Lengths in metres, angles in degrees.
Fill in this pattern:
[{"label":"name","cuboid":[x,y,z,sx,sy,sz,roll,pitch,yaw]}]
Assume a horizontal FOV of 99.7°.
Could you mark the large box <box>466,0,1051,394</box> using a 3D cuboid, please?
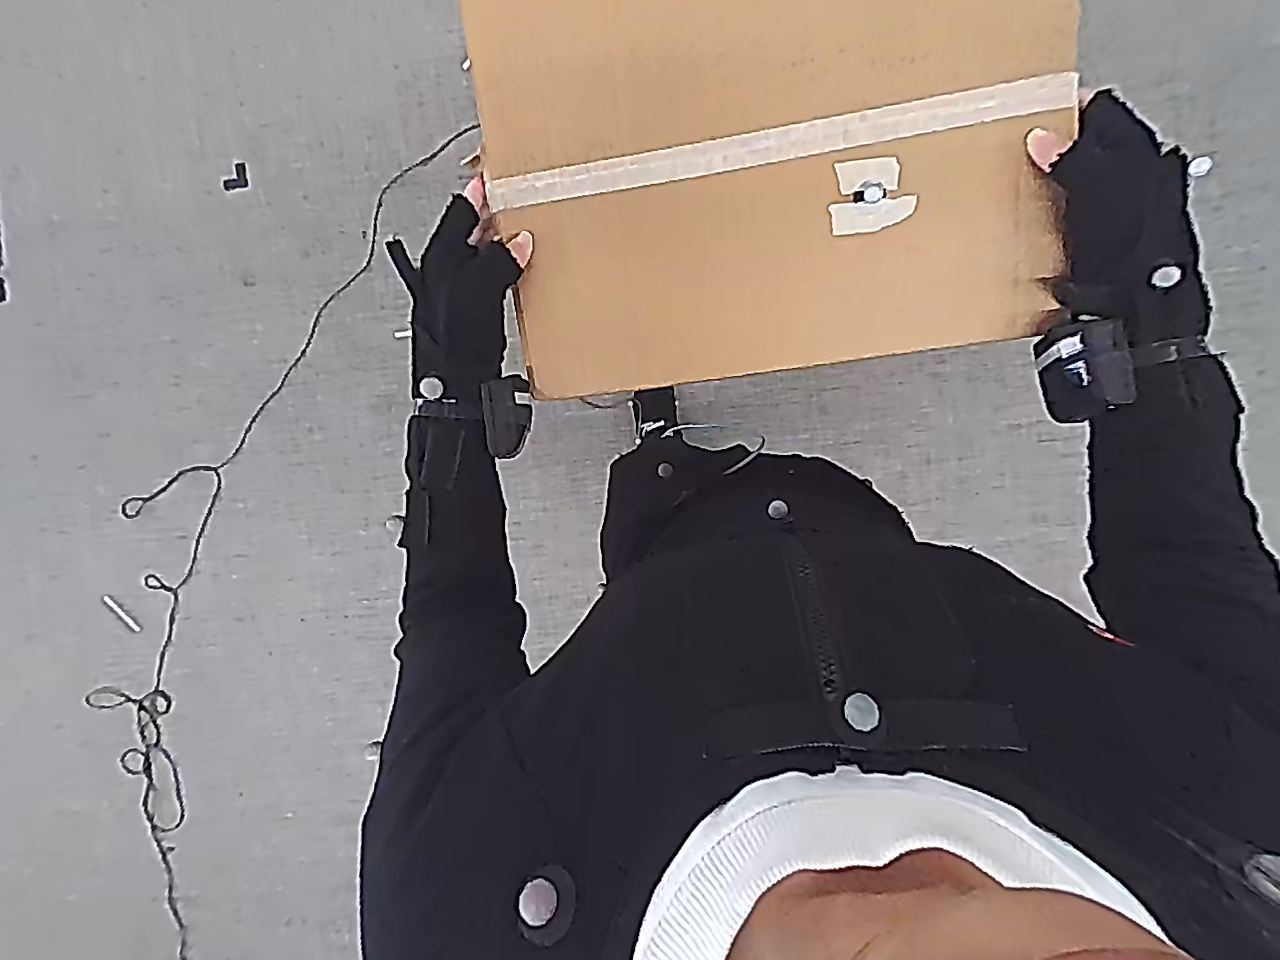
[{"label":"large box","cuboid":[0.099,-0.278,0.544,0.408,0.320,0.320,-7,103,6]}]
